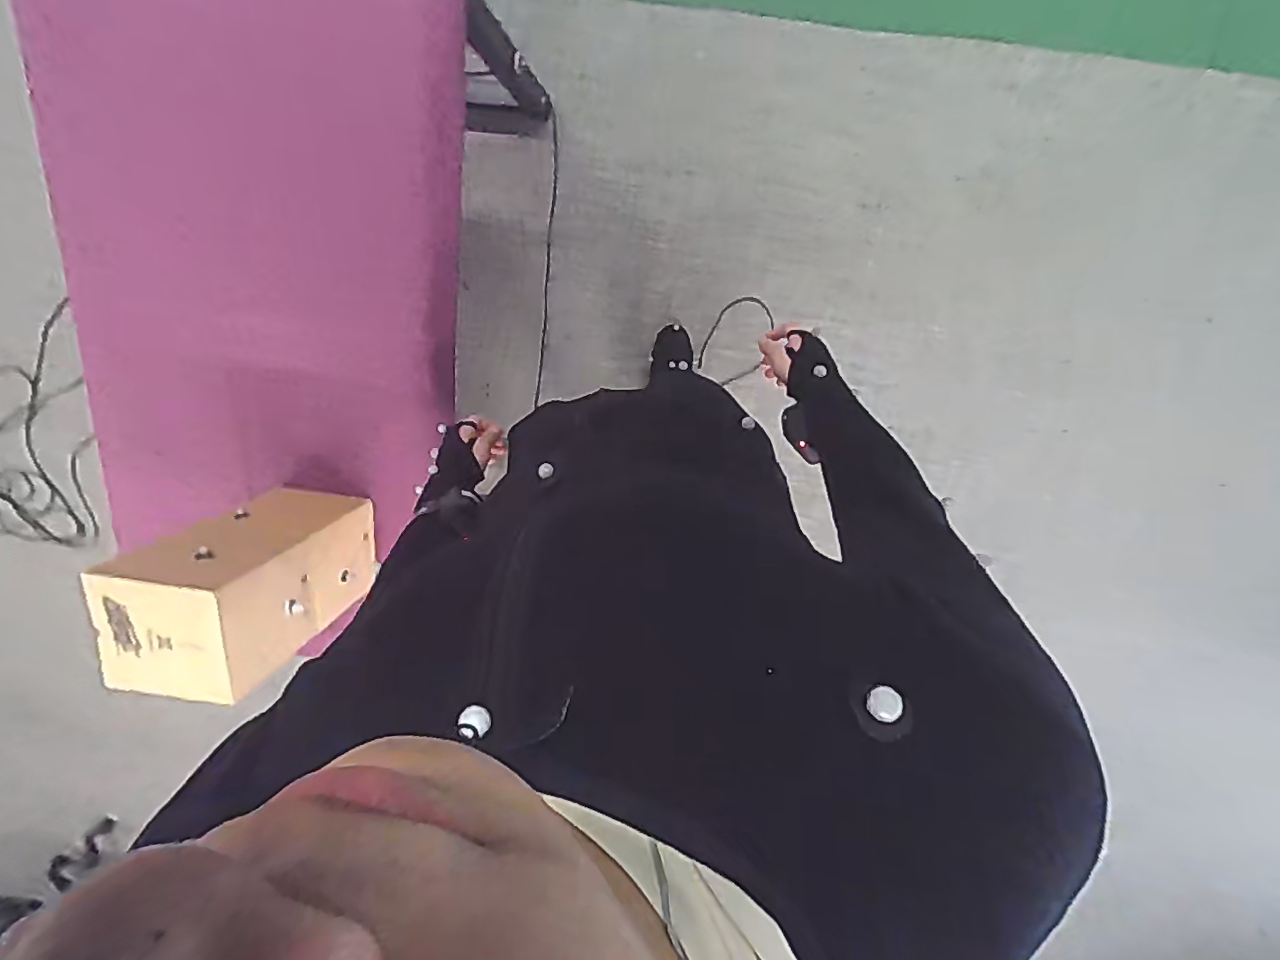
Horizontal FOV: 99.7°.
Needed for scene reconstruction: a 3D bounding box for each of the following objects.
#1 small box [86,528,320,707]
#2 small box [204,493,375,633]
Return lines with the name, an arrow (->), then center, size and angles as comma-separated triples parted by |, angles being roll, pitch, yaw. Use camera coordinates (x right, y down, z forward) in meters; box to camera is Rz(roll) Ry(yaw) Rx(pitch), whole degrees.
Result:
small box -> -0.579, 0.176, 0.741 | 0.179, 0.176, 0.168 | 7, 108, 3
small box -> -0.561, 0.129, 0.898 | 0.179, 0.176, 0.168 | 7, 108, 4
